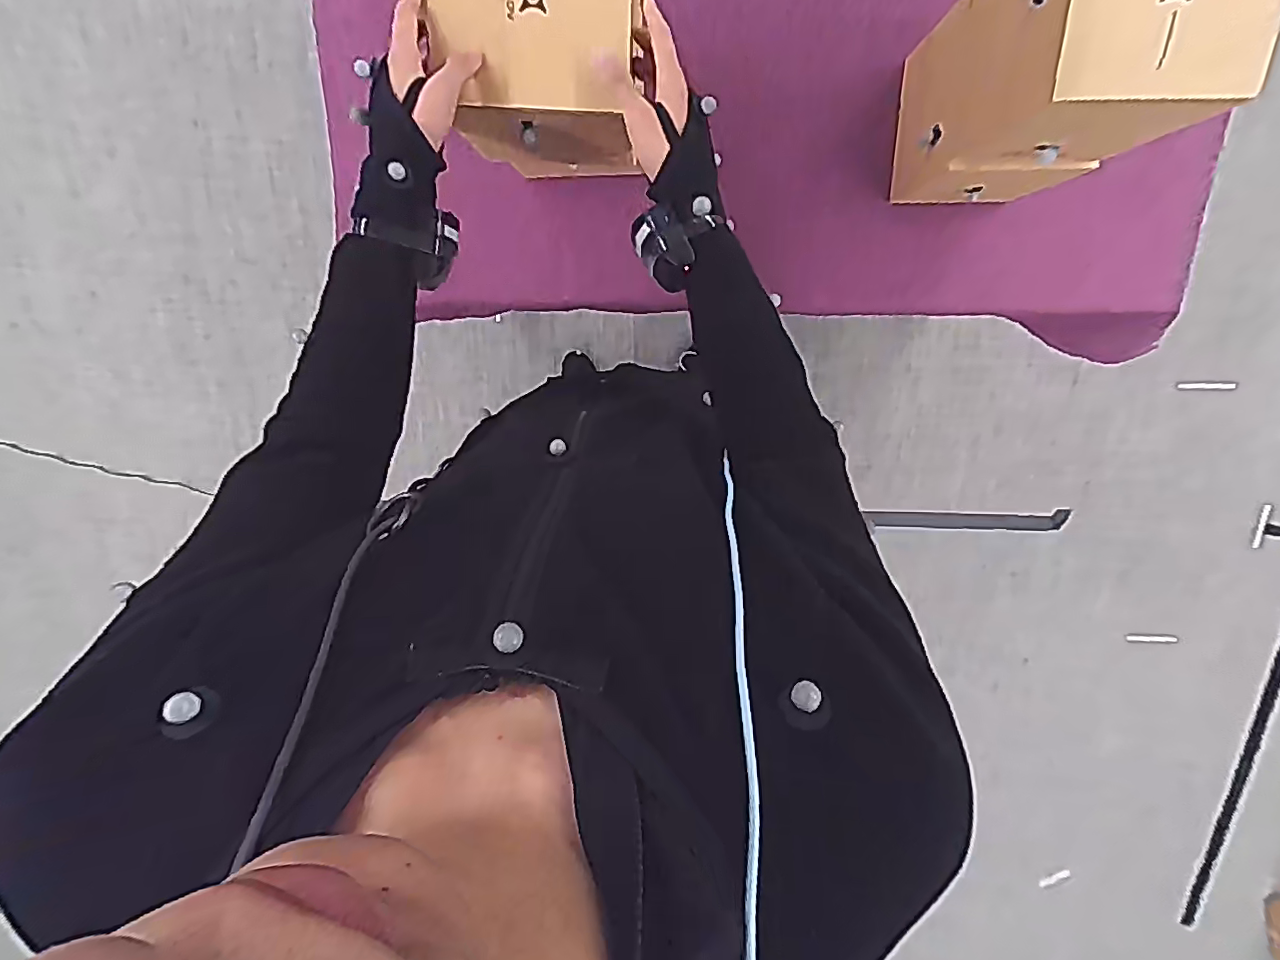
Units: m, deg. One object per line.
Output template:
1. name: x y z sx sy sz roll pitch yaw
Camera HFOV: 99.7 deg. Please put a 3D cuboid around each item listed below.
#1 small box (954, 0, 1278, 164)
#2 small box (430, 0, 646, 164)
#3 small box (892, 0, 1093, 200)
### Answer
1. small box: 0.424 -0.417 0.503 0.168 0.176 0.179 1 106 2
2. small box: -0.086 -0.422 0.524 0.179 0.176 0.168 4 107 2
3. small box: 0.429 -0.453 0.663 0.168 0.176 0.179 1 106 2
